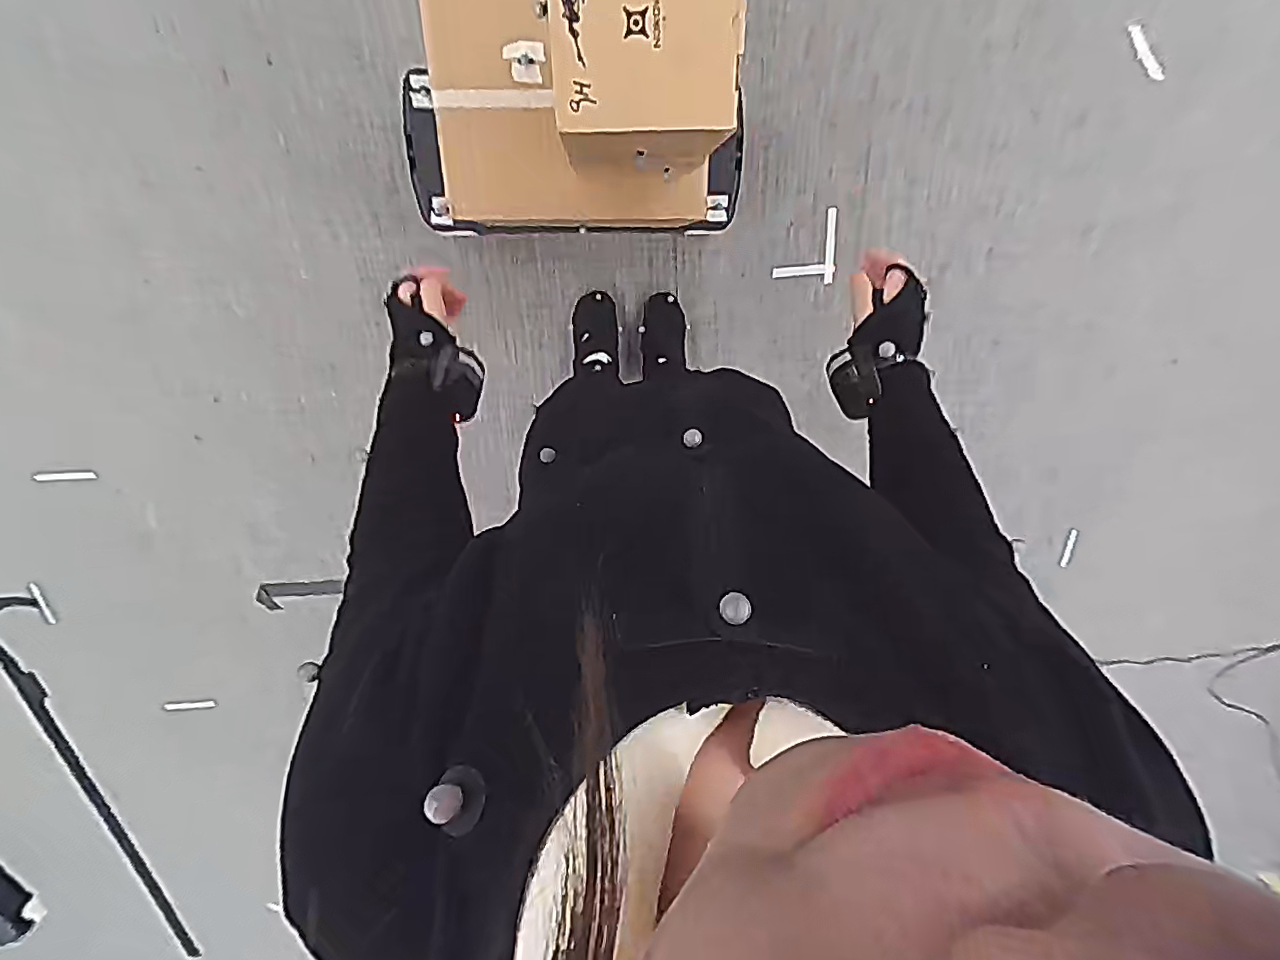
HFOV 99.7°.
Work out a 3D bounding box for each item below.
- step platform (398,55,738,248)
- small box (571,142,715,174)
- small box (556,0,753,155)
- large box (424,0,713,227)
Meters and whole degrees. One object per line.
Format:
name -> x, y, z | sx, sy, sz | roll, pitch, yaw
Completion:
step platform -> -0.140, -0.672, 1.142 | 0.684, 0.204, 0.286 | 3, 113, -5
small box -> 0.000, -0.501, 0.699 | 0.179, 0.176, 0.168 | -1, 113, -3
small box -> 0.007, -0.439, 0.548 | 0.179, 0.176, 0.168 | -3, 113, -4
large box -> -0.095, -0.604, 0.915 | 0.408, 0.320, 0.320 | -1, 112, -2
